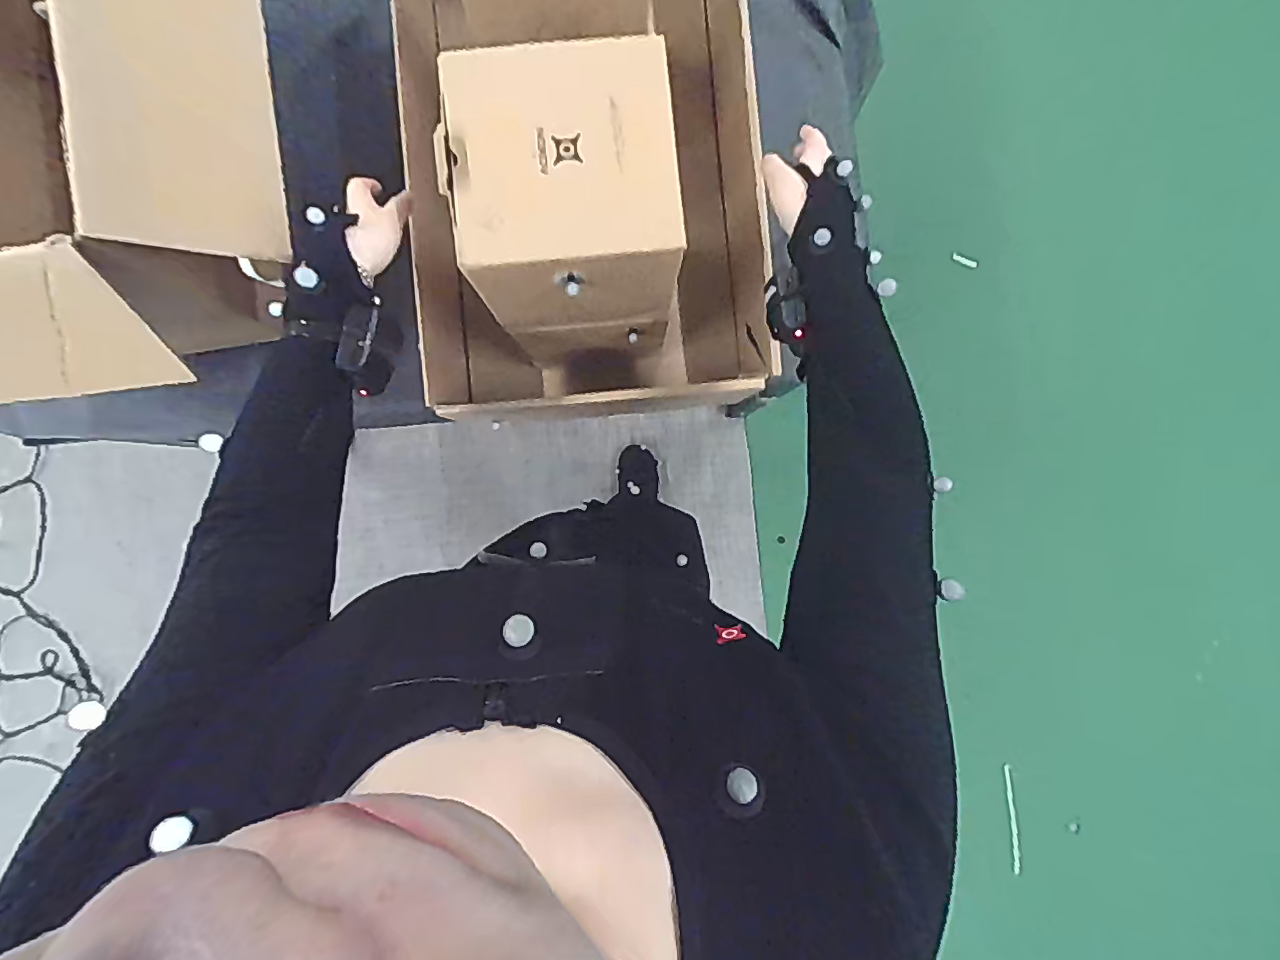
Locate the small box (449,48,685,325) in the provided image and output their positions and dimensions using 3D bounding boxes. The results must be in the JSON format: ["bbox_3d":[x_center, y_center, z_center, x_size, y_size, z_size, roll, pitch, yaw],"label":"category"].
[{"bbox_3d":[-0.059,-0.250,0.498,0.179,0.176,0.168,-4,90,-3],"label":"small box"}]
